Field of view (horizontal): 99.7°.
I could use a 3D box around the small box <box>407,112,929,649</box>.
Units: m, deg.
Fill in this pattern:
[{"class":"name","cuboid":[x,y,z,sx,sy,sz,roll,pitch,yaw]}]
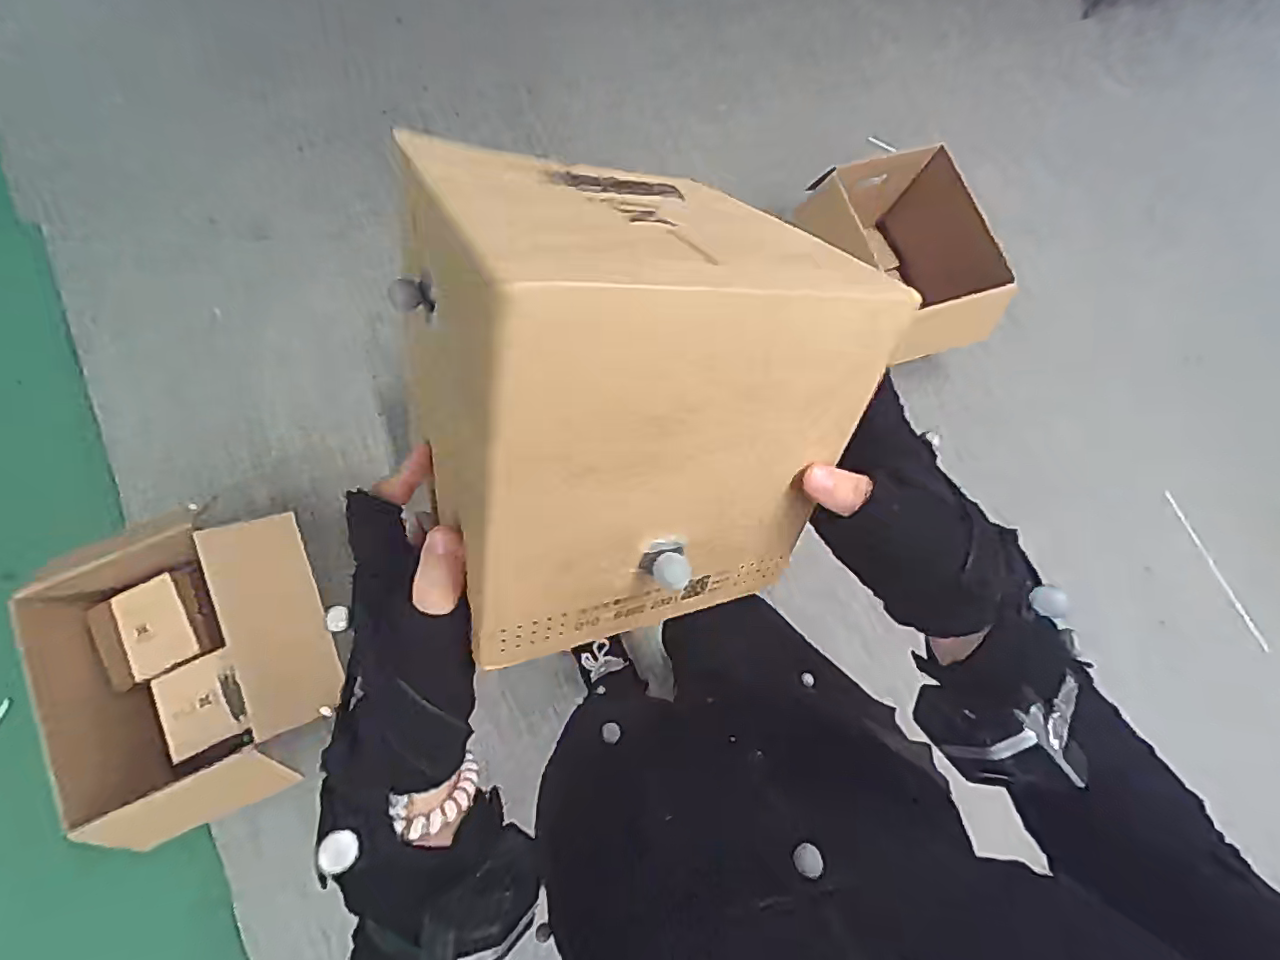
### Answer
[{"class":"small box","cuboid":[-0.015,-0.051,0.269,0.168,0.176,0.179,-8,43,-31]}]
